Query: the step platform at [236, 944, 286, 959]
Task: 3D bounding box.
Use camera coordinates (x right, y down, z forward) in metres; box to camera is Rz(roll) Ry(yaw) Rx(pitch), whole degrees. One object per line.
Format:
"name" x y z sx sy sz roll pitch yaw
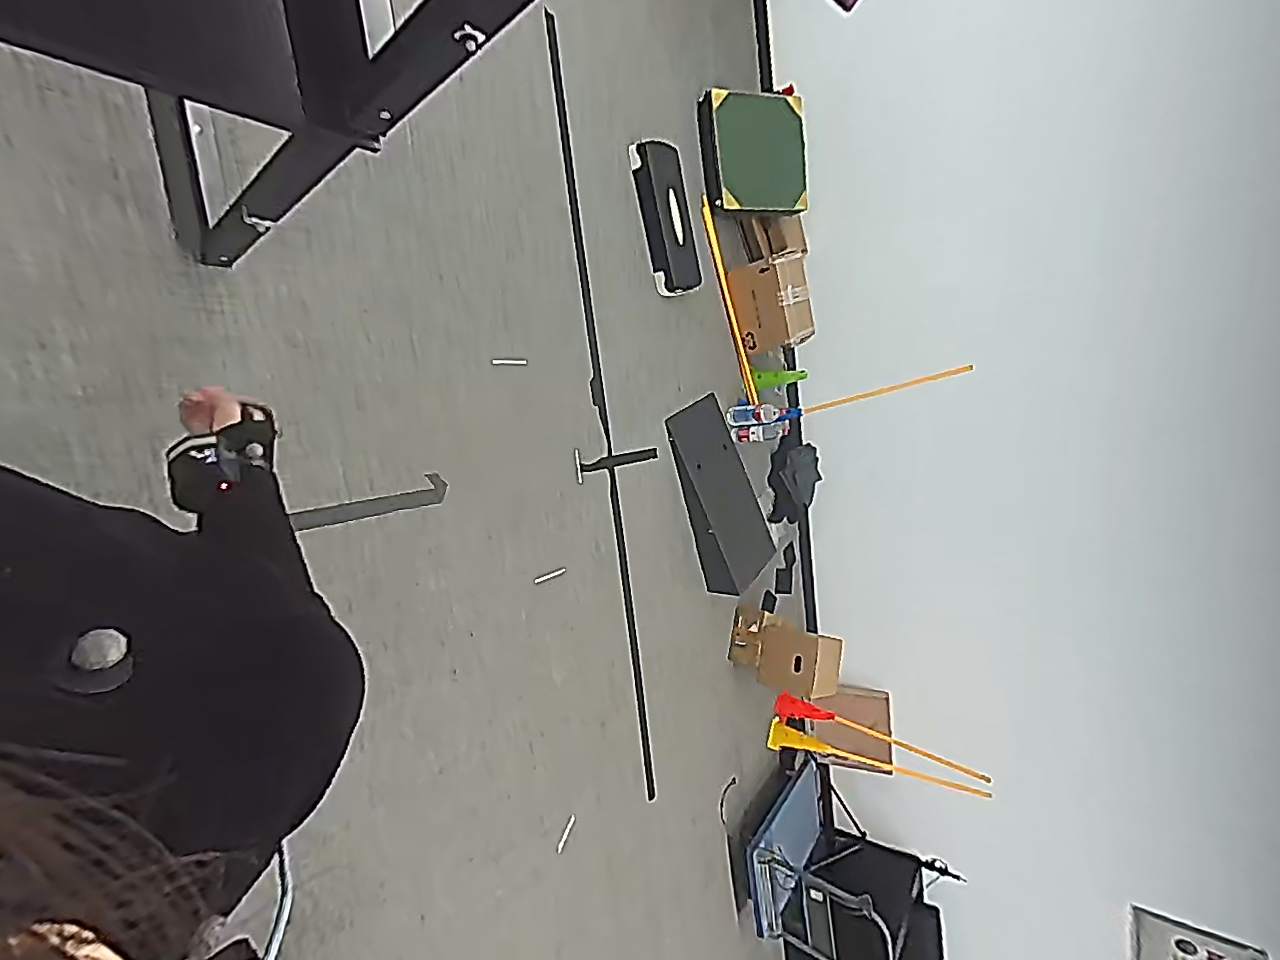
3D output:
"step platform" -1.014 1.266 1.008 0.684 0.204 0.286 -6 94 -52
